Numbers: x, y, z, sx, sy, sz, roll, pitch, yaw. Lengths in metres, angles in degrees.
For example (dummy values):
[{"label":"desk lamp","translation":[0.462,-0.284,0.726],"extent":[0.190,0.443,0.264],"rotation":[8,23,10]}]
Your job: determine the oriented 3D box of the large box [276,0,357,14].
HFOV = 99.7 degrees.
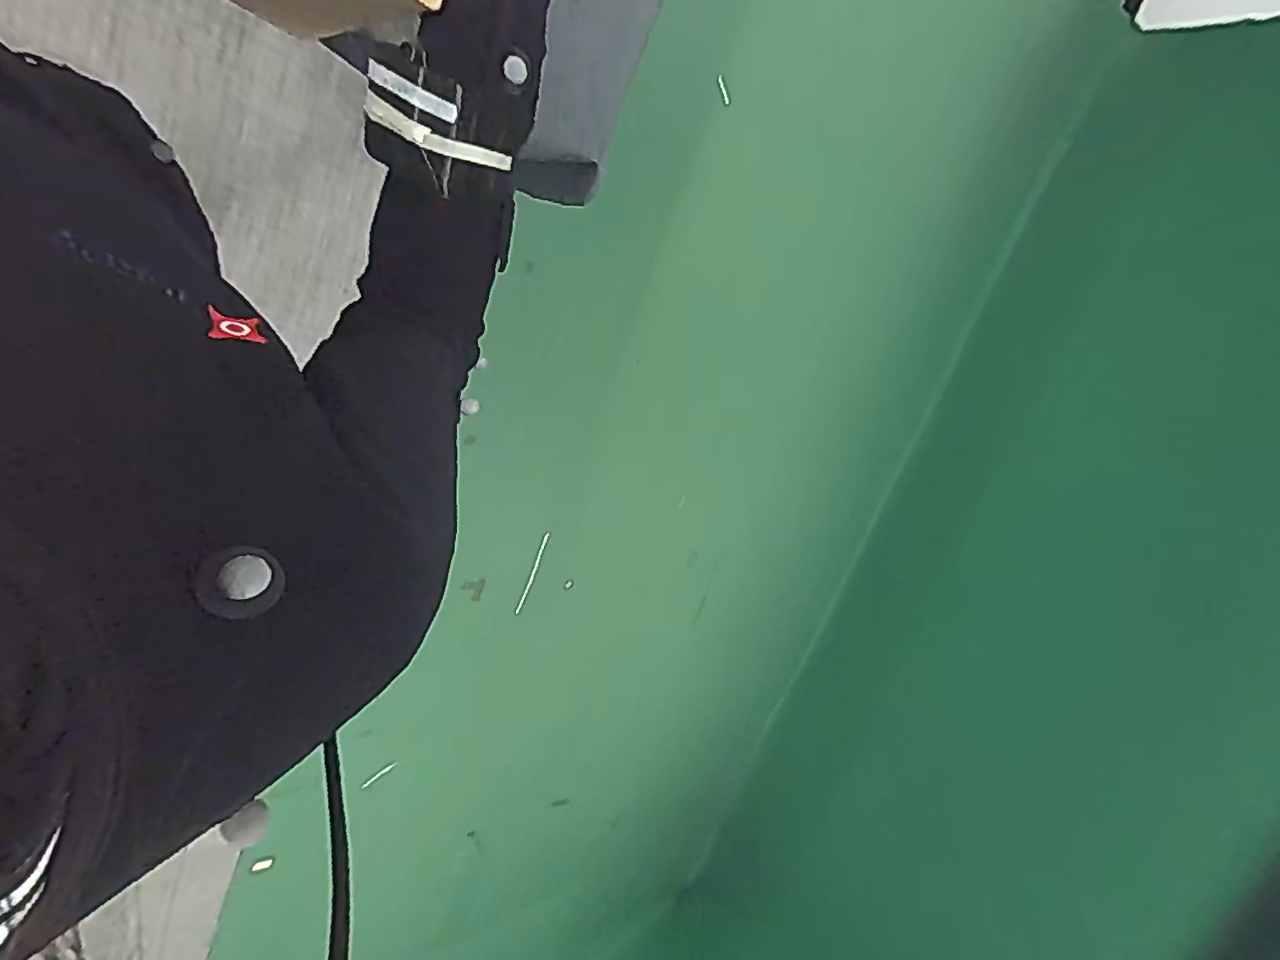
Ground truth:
[{"label":"large box","translation":[-0.276,-0.477,0.194],"extent":[0.408,0.320,0.320],"rotation":[5,115,-48]}]
